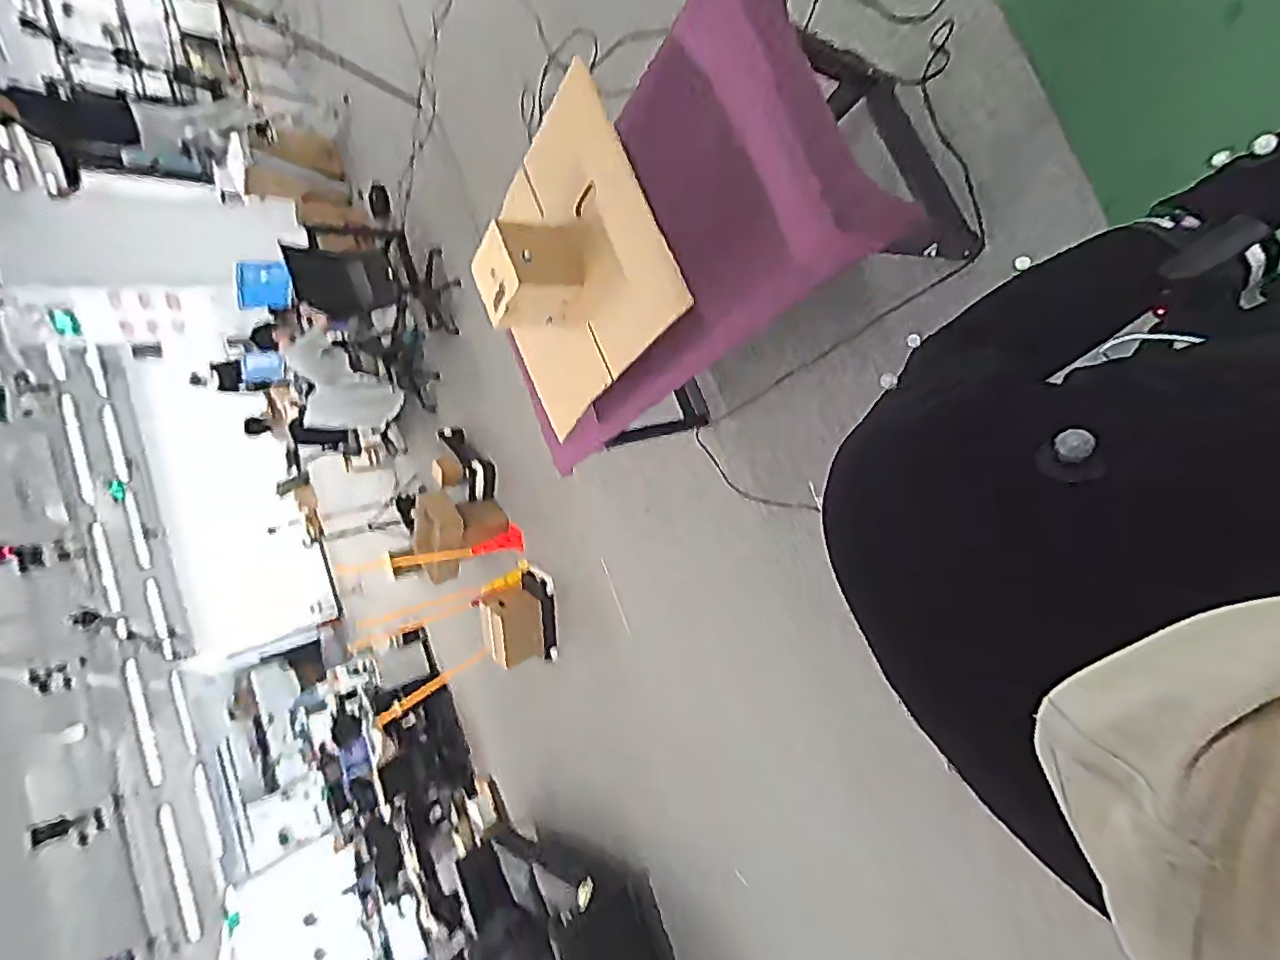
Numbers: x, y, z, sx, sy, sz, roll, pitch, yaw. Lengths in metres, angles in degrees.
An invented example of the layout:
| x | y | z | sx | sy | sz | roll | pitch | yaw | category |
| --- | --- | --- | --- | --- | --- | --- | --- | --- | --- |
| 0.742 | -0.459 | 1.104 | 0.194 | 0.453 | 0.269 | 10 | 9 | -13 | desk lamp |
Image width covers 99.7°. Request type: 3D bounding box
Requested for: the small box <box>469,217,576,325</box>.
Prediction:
| x | y | z | sx | sy | sz | roll | pitch | yaw | category |
| --- | --- | --- | --- | --- | --- | --- | --- | --- | --- |
| -0.274 | -0.488 | 1.274 | 0.168 | 0.176 | 0.179 | -33 | 76 | 49 | small box |
